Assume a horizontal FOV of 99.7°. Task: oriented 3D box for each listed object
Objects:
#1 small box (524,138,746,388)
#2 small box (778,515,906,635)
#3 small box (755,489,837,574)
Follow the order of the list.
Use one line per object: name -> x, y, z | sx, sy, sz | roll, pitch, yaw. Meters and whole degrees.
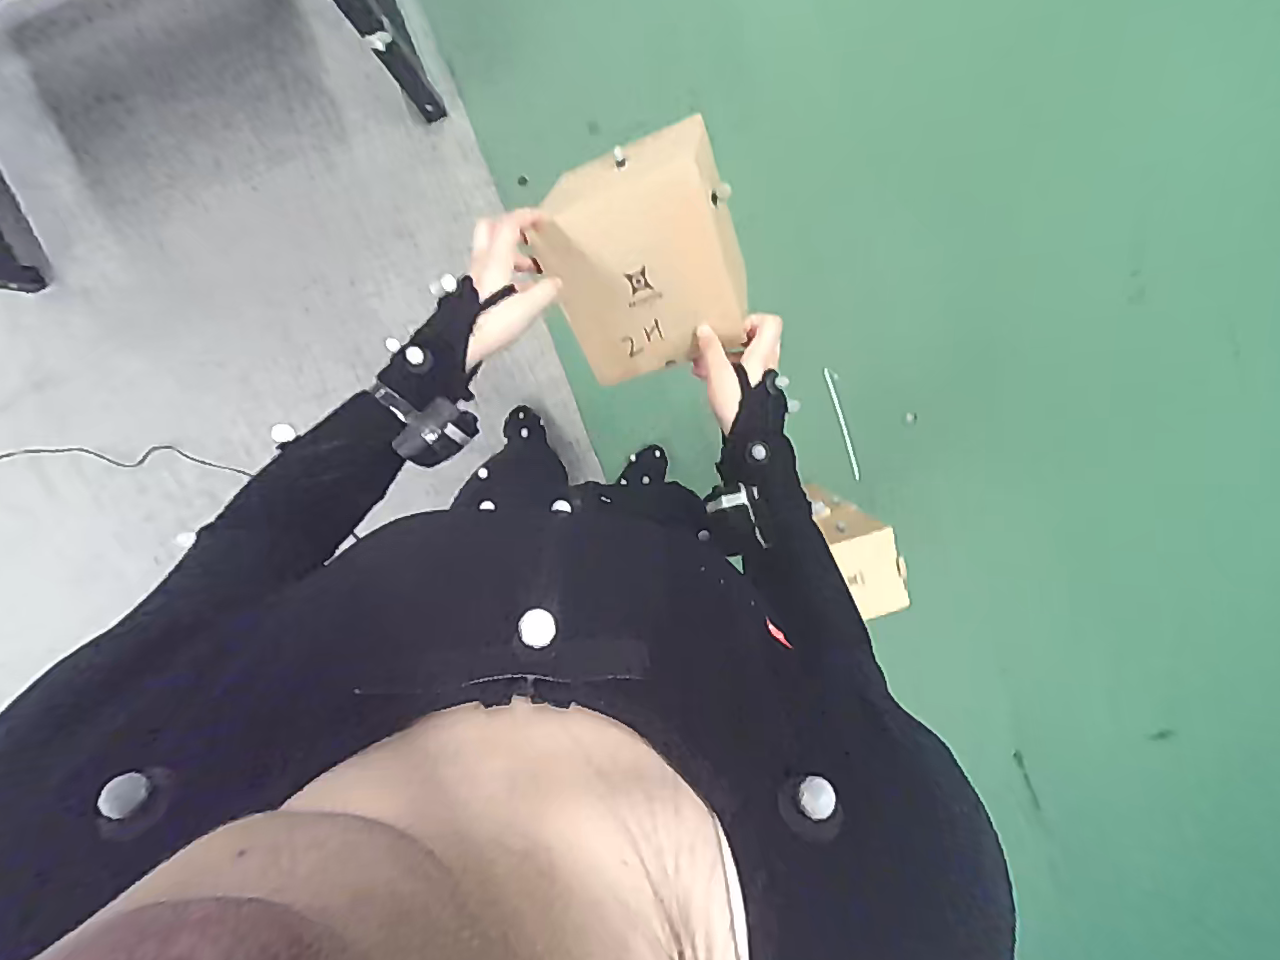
small box -> 0.008, -0.232, 0.571 | 0.168, 0.176, 0.179 | -12, 131, 21
small box -> 0.404, 0.183, 1.101 | 0.179, 0.176, 0.168 | -17, 100, 1
small box -> 0.411, 0.131, 1.426 | 0.179, 0.176, 0.168 | -13, 100, 1
